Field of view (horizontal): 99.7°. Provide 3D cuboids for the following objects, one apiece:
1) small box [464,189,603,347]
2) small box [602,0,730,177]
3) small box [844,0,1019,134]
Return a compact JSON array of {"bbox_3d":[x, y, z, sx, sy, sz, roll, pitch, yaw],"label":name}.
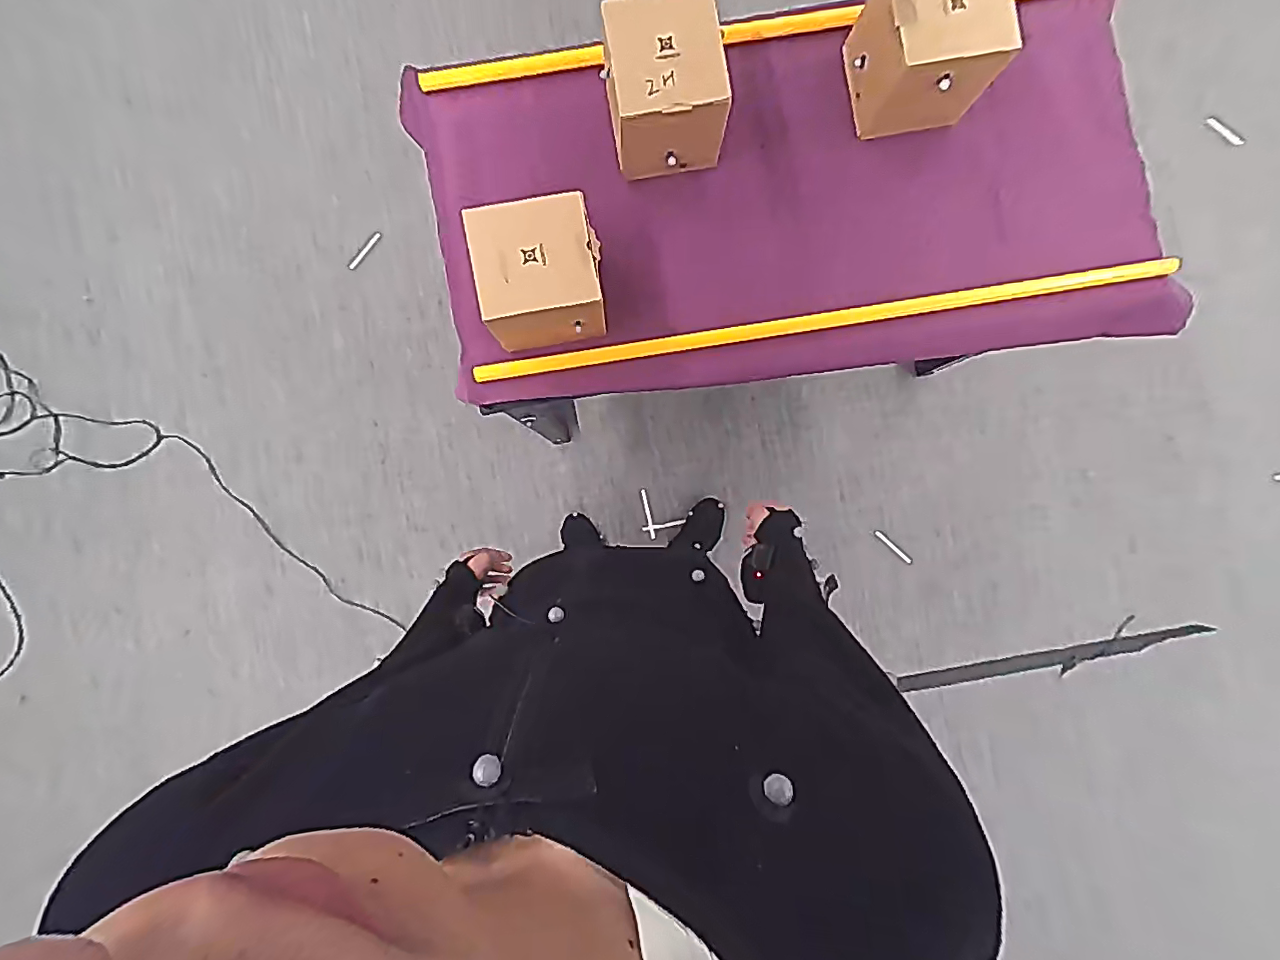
[{"bbox_3d":[-0.156,-0.320,0.847,0.179,0.176,0.168,-10,88,-3],"label":"small box"},{"bbox_3d":[0.036,-0.622,0.858,0.168,0.176,0.179,-10,90,0],"label":"small box"},{"bbox_3d":[0.452,-0.693,0.862,0.179,0.176,0.168,-10,90,0],"label":"small box"}]
